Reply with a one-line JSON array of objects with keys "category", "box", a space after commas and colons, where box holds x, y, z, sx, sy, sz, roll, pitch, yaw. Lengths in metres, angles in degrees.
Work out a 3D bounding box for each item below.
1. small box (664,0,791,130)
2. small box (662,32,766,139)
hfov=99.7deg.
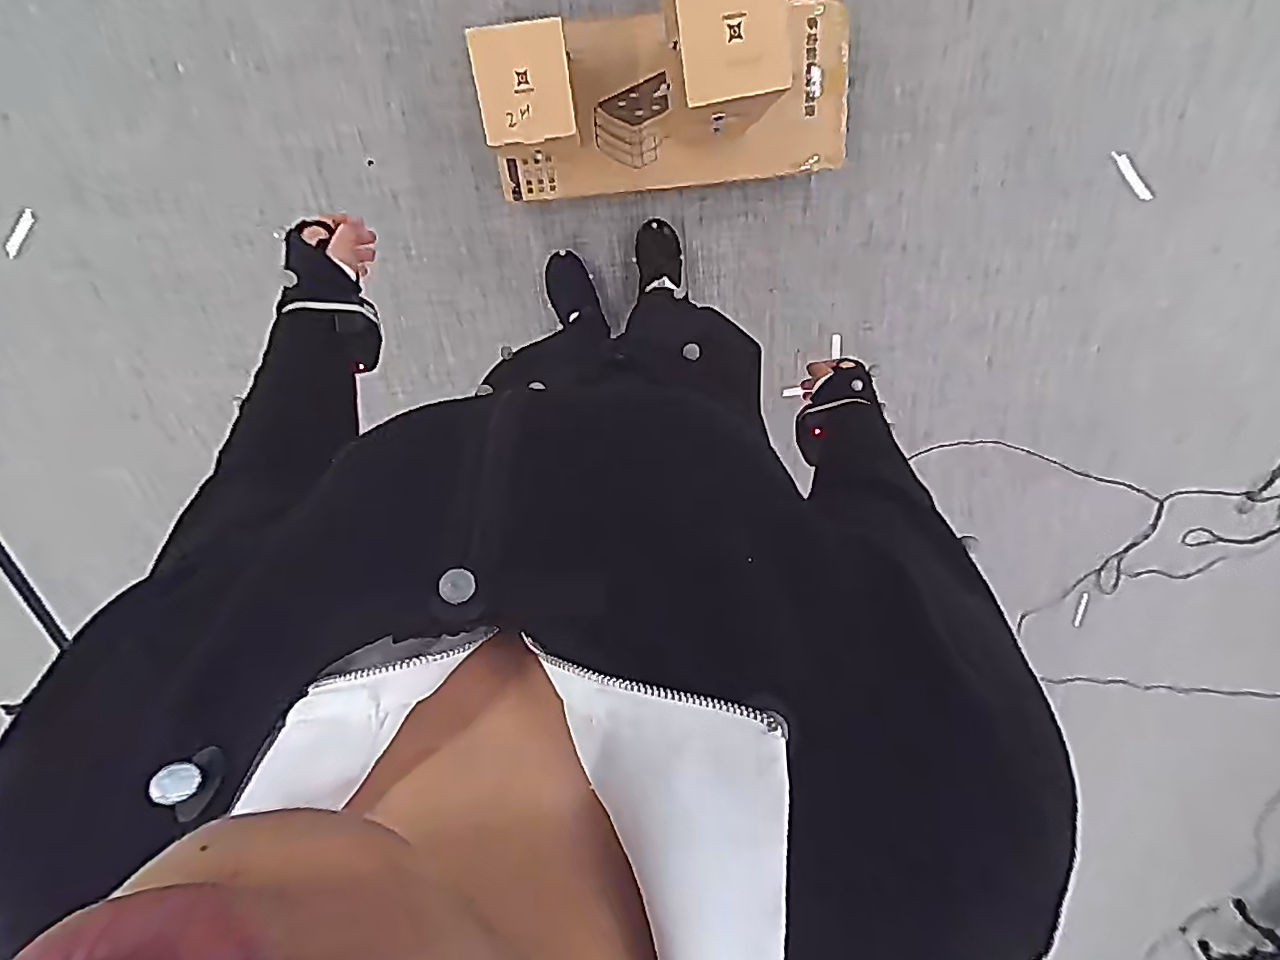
[{"category": "small box", "box": [0.135, -0.696, 0.876, 0.168, 0.176, 0.179, -10, 115, 2]}, {"category": "small box", "box": [0.137, -0.763, 1.025, 0.168, 0.176, 0.179, -8, 115, 1]}]
